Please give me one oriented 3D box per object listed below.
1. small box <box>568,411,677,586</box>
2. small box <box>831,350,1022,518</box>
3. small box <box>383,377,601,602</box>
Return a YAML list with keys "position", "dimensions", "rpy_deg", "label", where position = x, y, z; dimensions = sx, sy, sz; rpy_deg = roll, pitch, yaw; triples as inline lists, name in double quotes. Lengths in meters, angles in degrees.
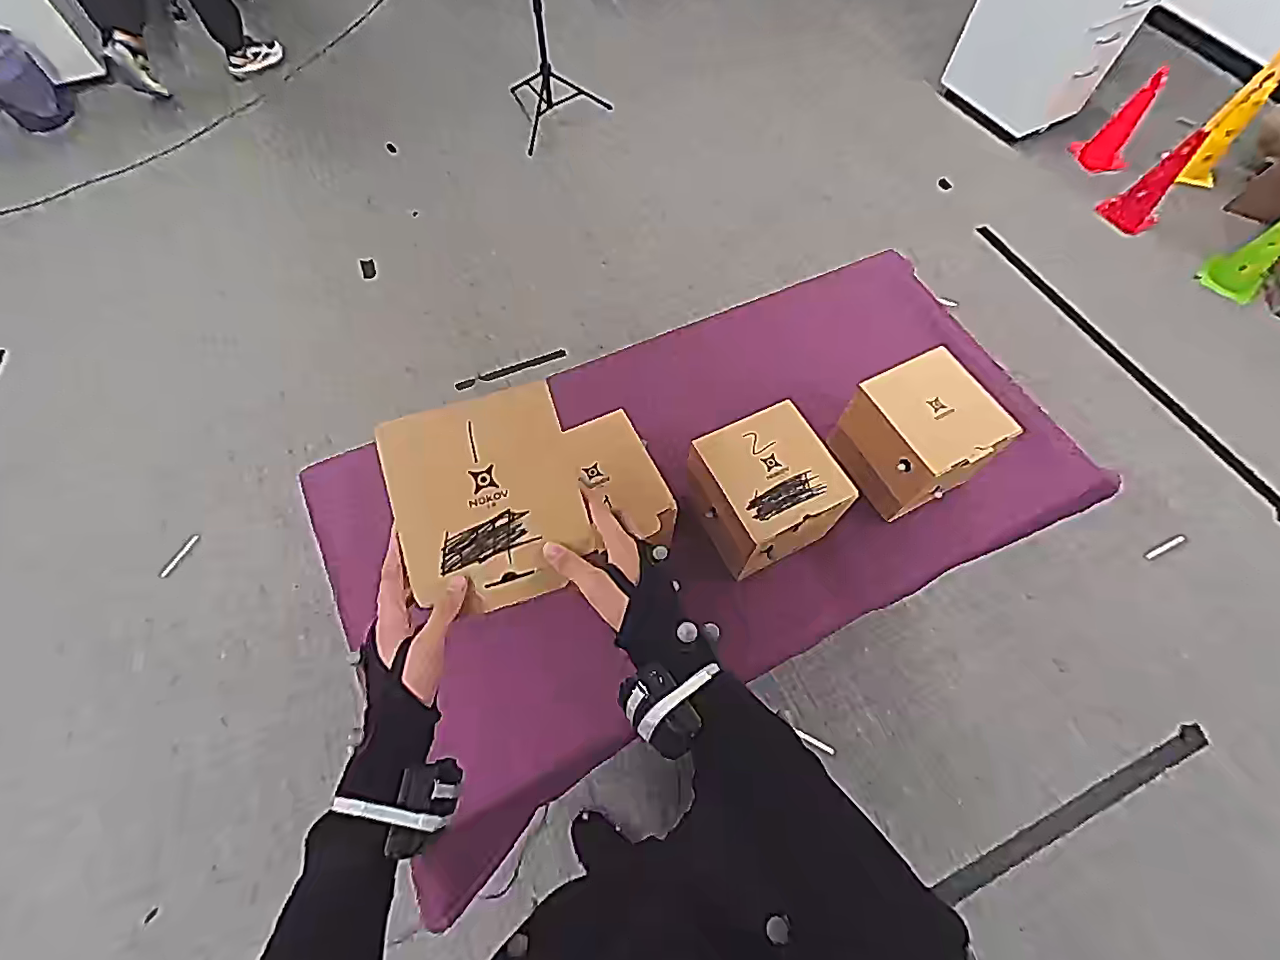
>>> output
- position: [-0.060, 0.033, 0.805]
  dimensions: [0.168, 0.176, 0.179]
  rpy_deg: [-23, 67, -11]
  label: "small box"
- position: [0.436, -0.068, 0.861]
  dimensions: [0.168, 0.176, 0.179]
  rpy_deg: [-25, 67, -12]
  label: "small box"
- position: [-0.140, 0.019, 0.568]
  dimensions: [0.168, 0.176, 0.179]
  rpy_deg: [-16, 79, -8]
  label: "small box"
